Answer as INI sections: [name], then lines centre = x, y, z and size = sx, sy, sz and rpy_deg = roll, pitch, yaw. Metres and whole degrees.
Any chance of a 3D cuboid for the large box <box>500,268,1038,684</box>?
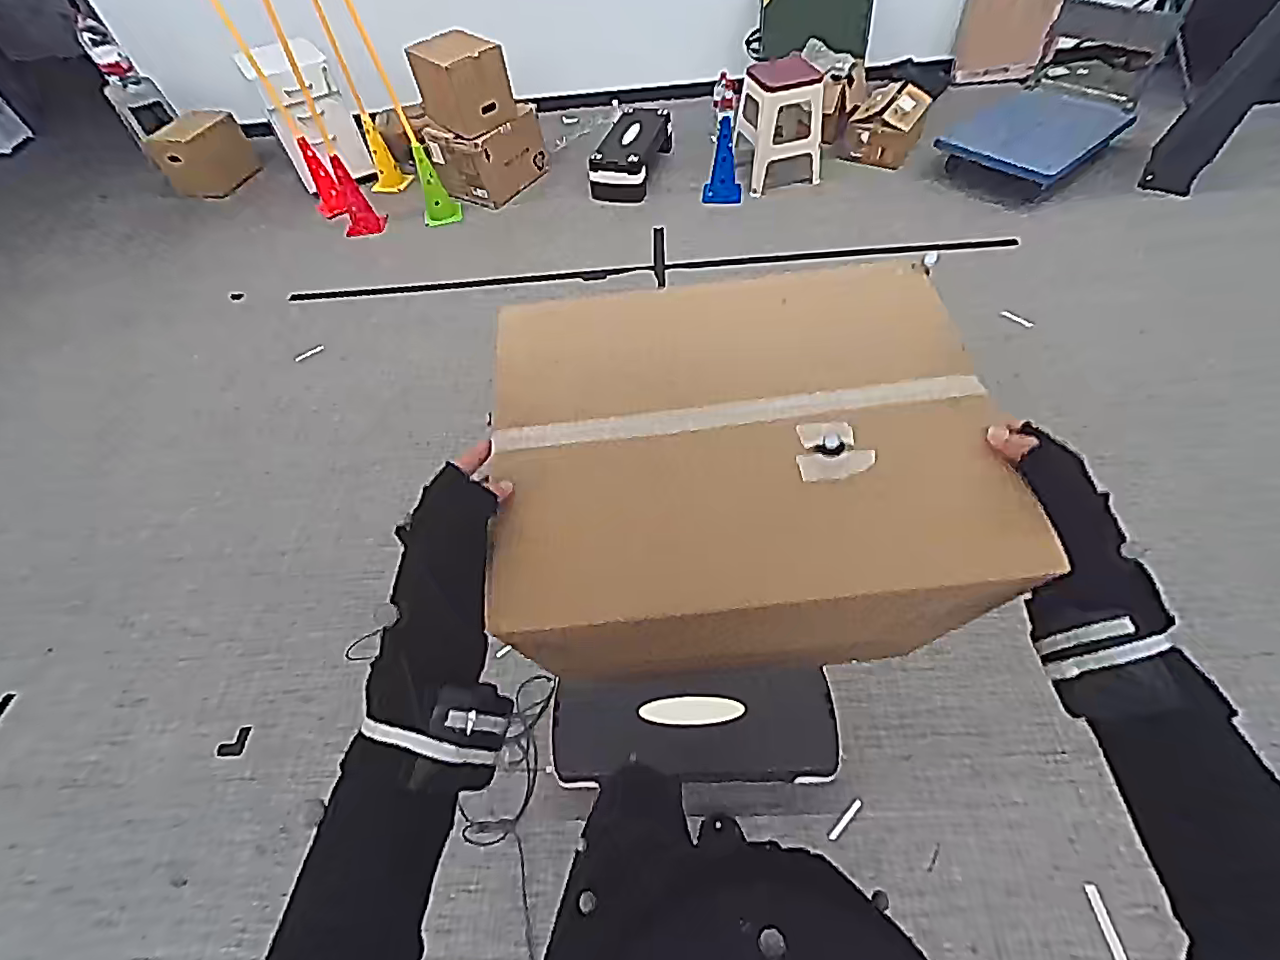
[large box]
centre = 0.087, 0.019, 0.592
size = 0.408, 0.320, 0.320
rpy_deg = -7, 62, 1
